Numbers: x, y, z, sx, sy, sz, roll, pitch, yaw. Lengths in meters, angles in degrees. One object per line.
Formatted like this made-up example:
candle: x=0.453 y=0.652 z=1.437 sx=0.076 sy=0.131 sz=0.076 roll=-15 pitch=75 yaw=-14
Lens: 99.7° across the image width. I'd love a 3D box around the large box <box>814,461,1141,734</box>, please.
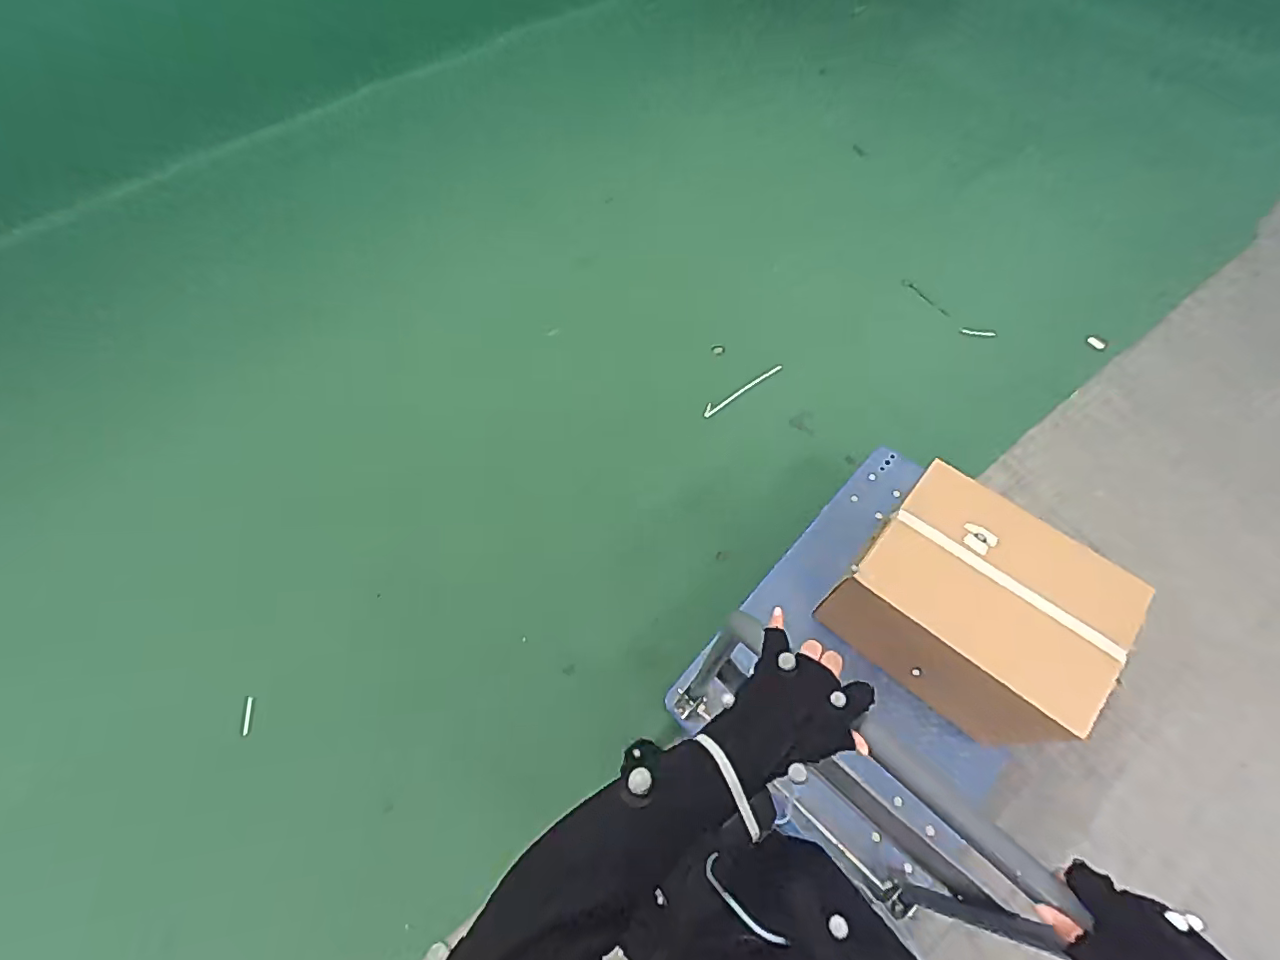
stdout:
large box: x=0.630 y=0.242 z=1.083 sx=0.408 sy=0.320 sz=0.320 roll=37 pitch=70 yaw=20
